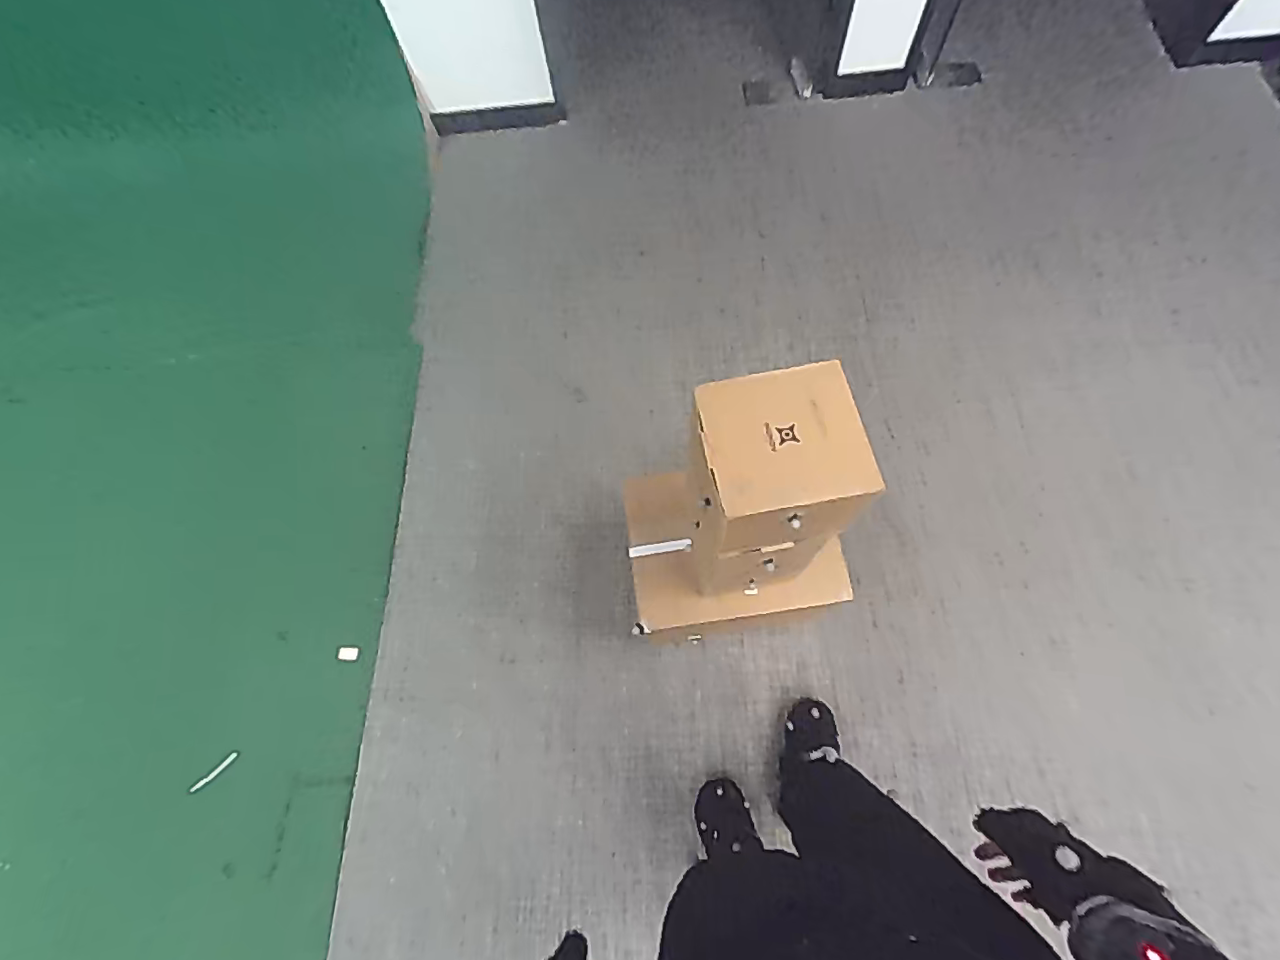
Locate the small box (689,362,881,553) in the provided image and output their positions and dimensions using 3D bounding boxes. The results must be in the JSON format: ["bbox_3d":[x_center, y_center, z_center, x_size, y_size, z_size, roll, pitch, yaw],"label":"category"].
[{"bbox_3d":[0.161,-0.017,0.667,0.179,0.176,0.168,-11,69,0],"label":"small box"}]

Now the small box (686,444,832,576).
[{"bbox_3d":[0.168,0.041,0.819,0.168,0.176,0.179,-12,69,0],"label":"small box"}]

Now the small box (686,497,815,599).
[{"bbox_3d":[0.185,0.104,0.968,0.179,0.176,0.168,-13,68,-2],"label":"small box"}]
